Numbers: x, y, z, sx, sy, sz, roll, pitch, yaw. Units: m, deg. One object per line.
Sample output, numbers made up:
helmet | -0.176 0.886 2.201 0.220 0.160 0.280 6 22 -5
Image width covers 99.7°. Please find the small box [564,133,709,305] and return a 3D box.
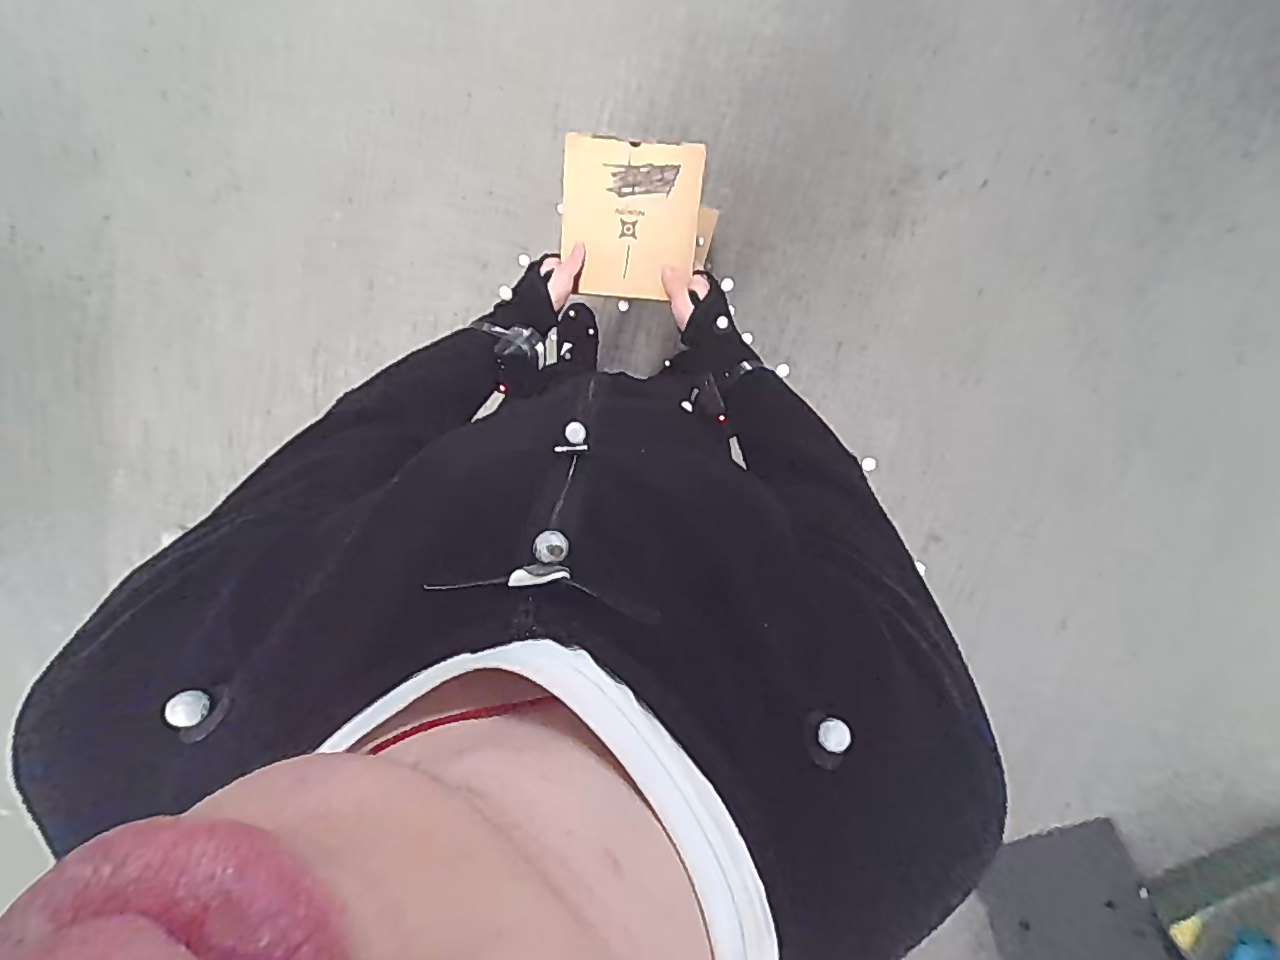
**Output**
small box | -0.006 -0.334 0.724 0.168 0.176 0.179 4 107 1

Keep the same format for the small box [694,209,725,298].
small box | 0.069 -0.501 1.180 0.179 0.176 0.168 16 105 -2
